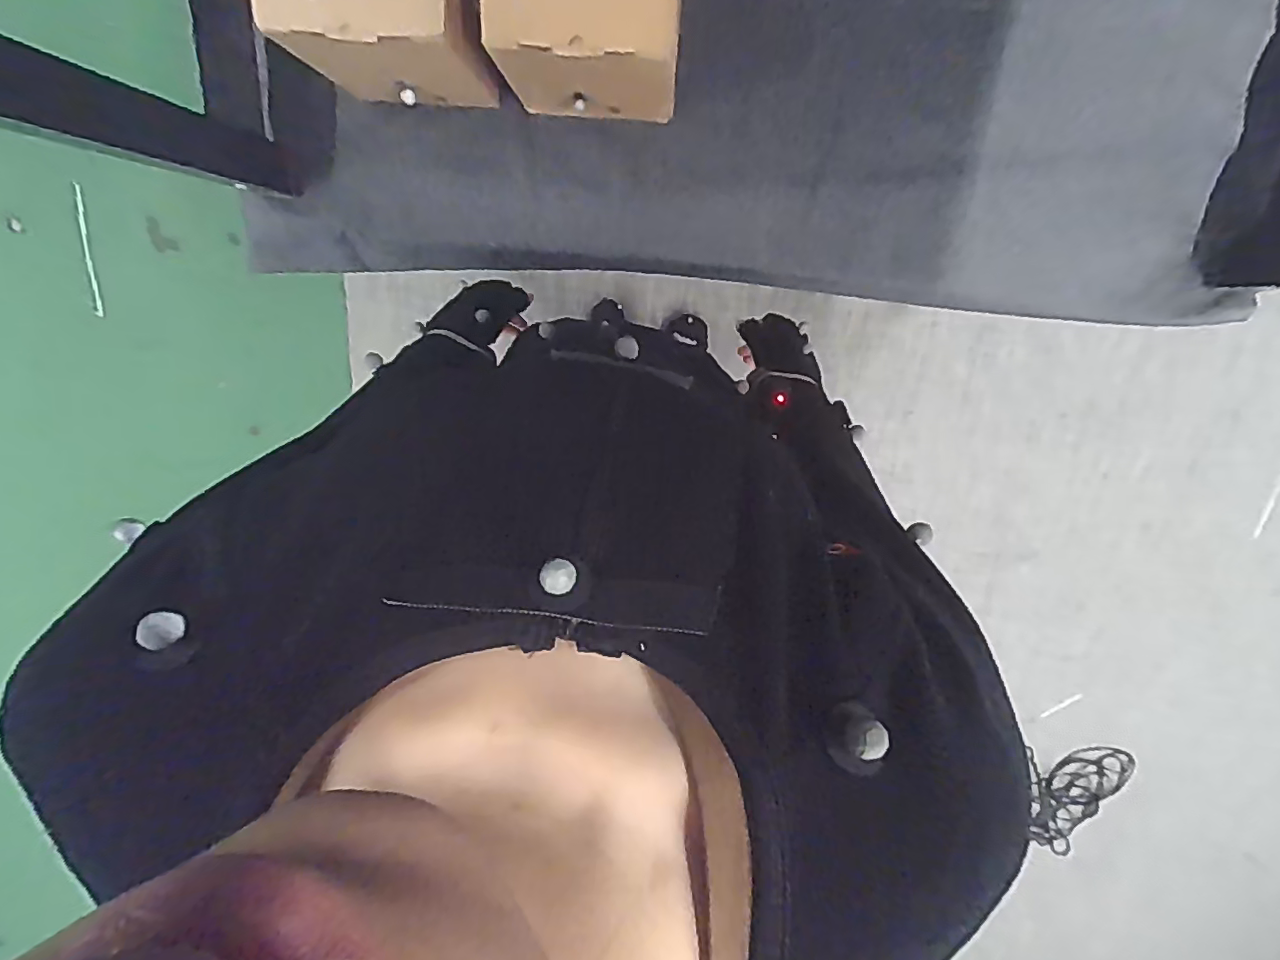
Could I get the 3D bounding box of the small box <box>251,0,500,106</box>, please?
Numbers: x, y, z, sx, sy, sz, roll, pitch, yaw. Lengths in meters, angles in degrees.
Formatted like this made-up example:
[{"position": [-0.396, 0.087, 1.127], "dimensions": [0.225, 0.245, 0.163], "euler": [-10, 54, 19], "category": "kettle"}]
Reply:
[{"position": [-0.234, -0.484, 0.504], "dimensions": [0.168, 0.176, 0.179], "euler": [4, 108, 1], "category": "small box"}]
